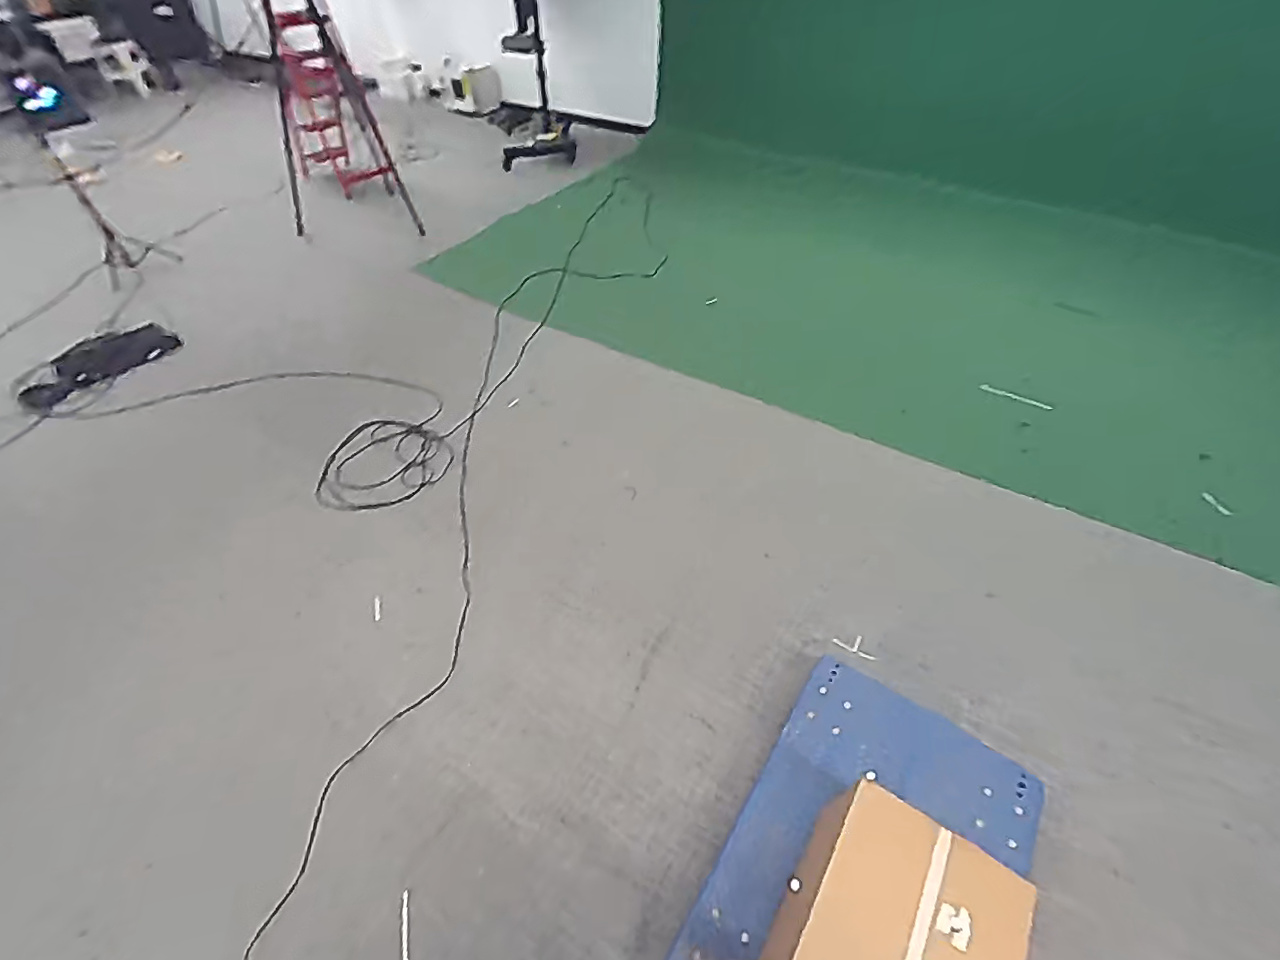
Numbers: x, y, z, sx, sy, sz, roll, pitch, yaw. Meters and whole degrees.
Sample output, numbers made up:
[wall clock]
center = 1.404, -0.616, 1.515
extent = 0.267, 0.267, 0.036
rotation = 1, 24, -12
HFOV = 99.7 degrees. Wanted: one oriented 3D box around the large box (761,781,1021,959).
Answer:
[large box]
center = 0.433, 0.872, 0.999
extent = 0.320, 0.320, 0.408
rotation = 28, 53, 22
